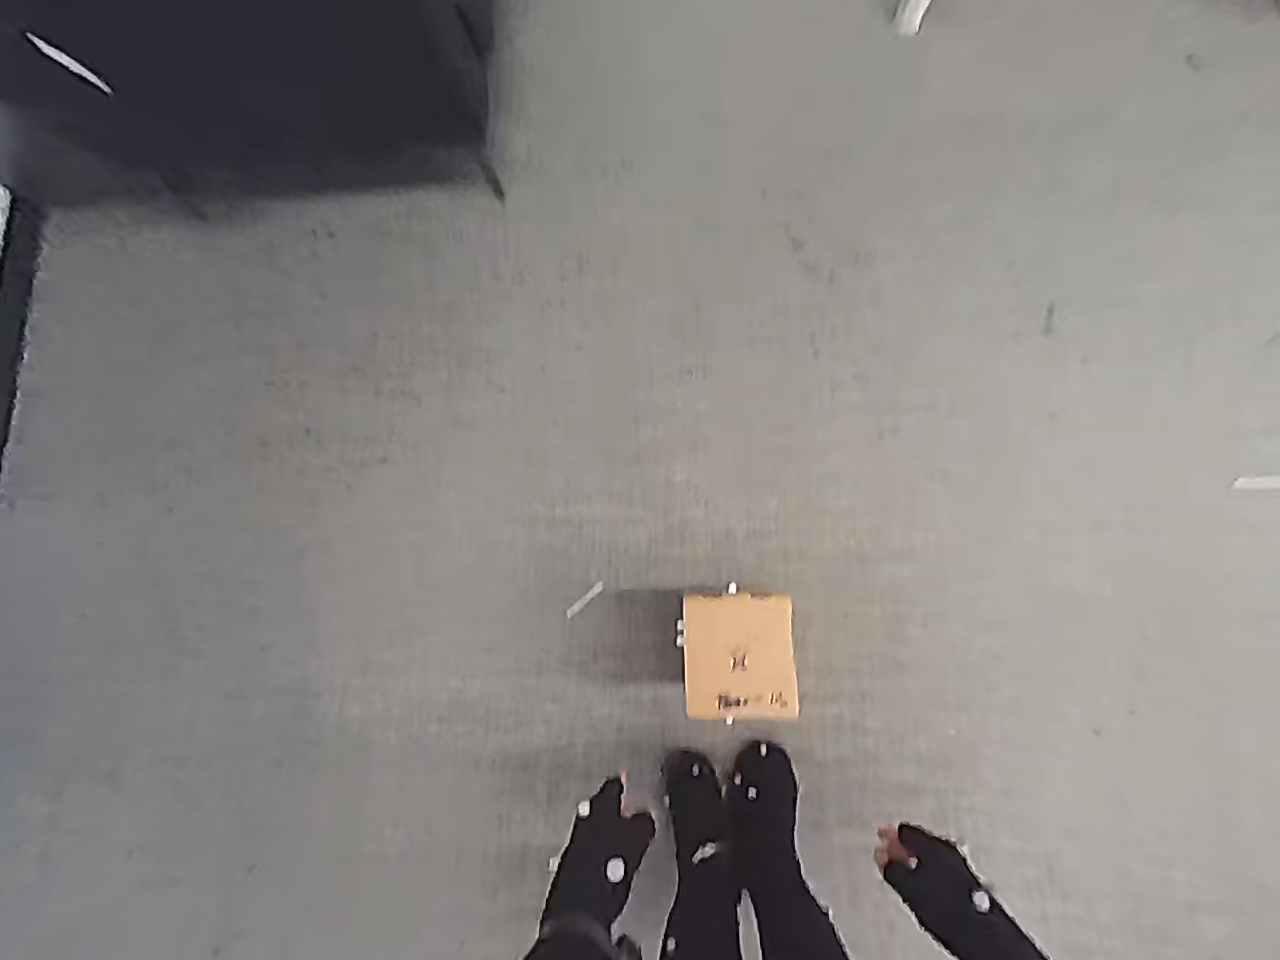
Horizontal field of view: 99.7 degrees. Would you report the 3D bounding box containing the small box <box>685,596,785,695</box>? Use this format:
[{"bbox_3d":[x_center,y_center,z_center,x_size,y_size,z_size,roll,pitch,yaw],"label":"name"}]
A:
[{"bbox_3d":[0.179,0.313,1.049,0.179,0.176,0.168,-1,80,6],"label":"small box"}]
